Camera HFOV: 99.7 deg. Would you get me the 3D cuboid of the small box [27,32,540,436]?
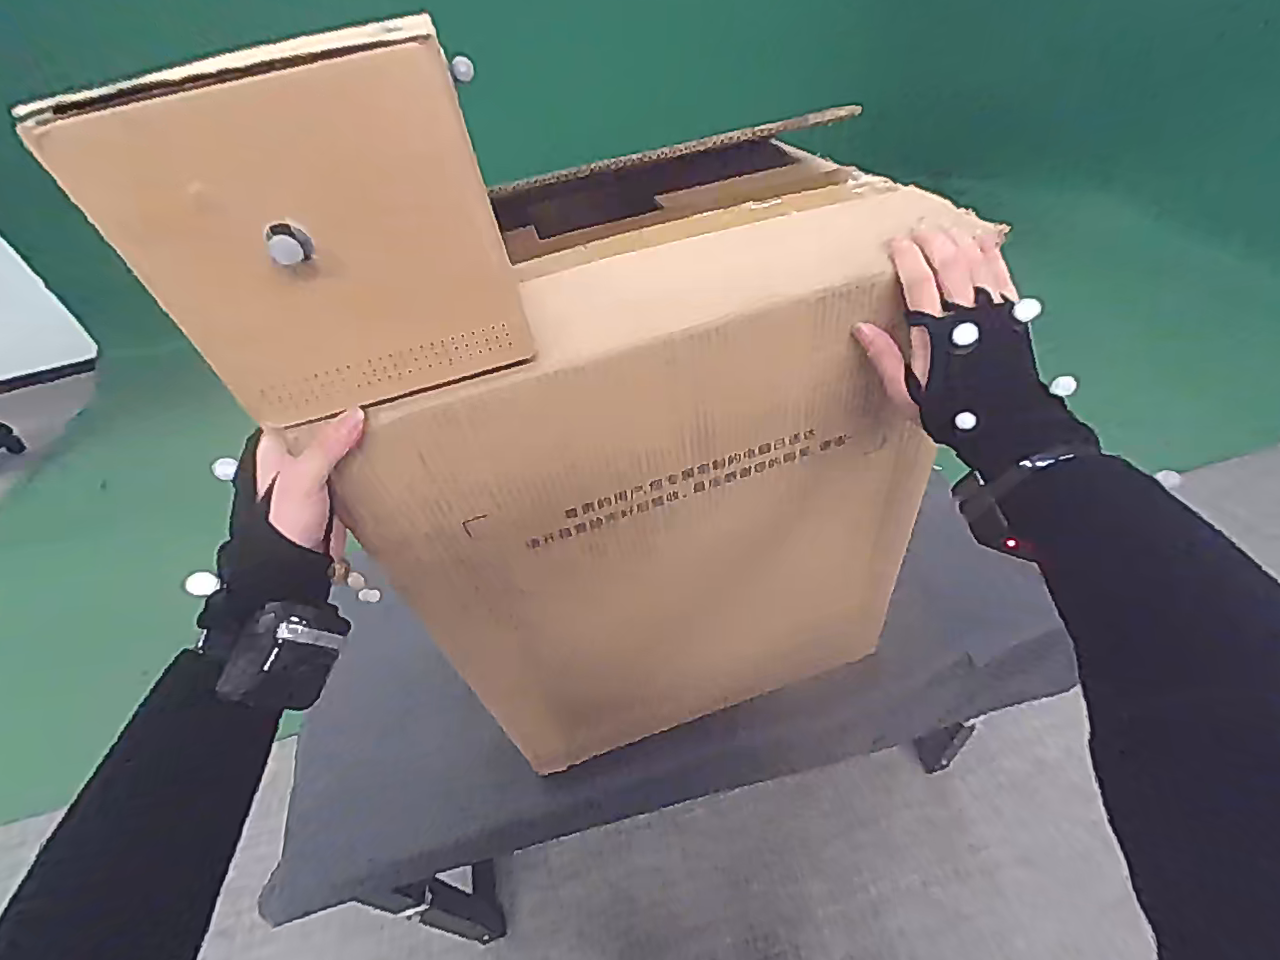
[{"bbox_3d":[-0.179,-0.152,0.340,0.179,0.176,0.168,-18,46,-6],"label":"small box"}]
